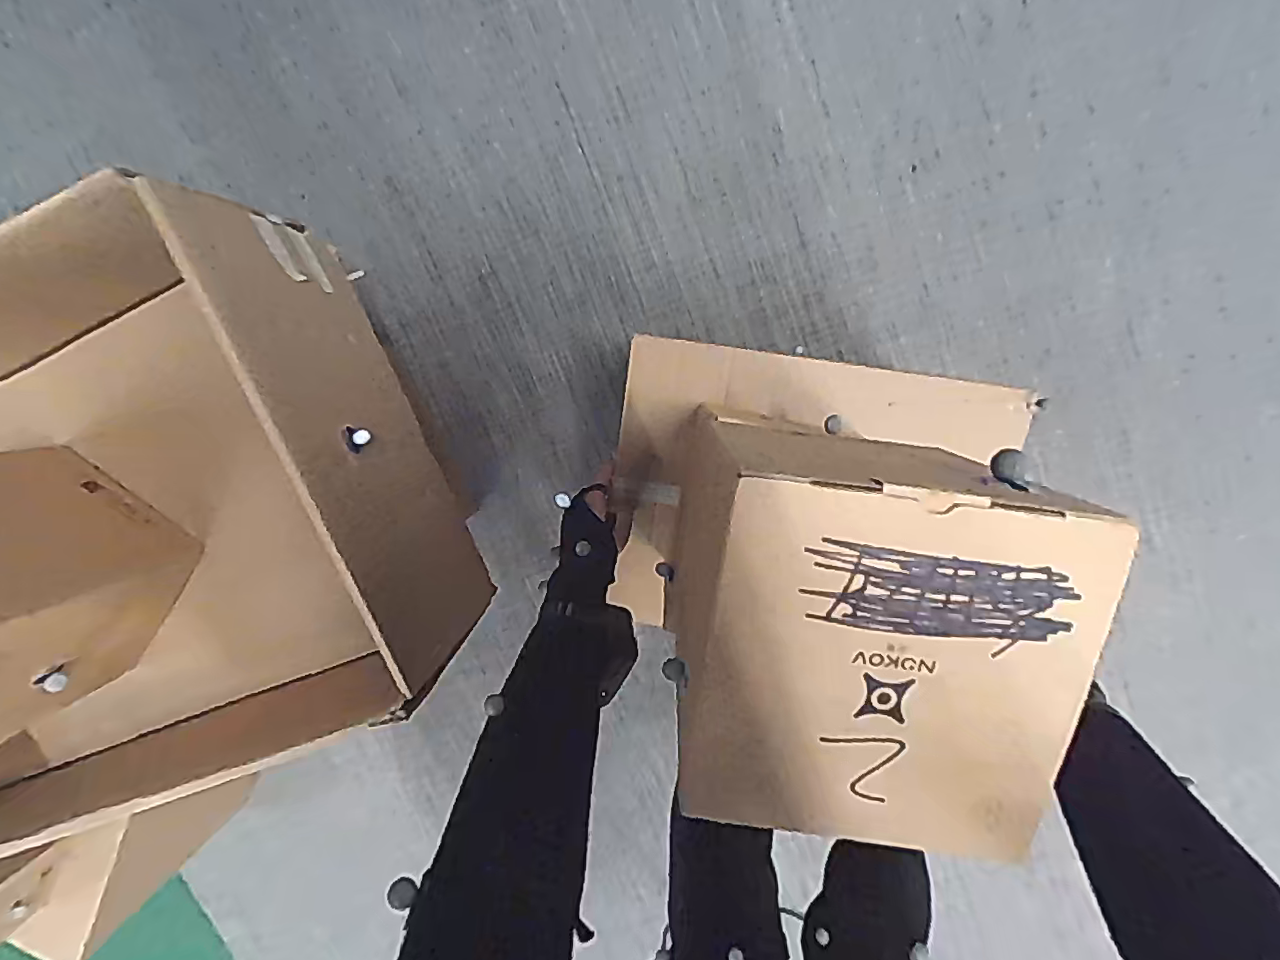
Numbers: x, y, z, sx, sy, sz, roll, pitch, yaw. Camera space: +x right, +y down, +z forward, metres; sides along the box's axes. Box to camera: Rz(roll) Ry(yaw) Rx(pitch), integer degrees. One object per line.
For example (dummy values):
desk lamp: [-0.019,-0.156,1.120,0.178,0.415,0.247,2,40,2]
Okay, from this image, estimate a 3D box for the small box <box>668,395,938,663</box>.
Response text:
small box: [0.120,0.027,0.480,0.168,0.176,0.179,12,103,0]

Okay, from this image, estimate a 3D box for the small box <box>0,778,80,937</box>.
small box: [-0.887,0.509,0.678,0.179,0.176,0.168,31,103,-2]

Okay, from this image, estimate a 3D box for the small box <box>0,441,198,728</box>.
small box: [-0.534,0.090,0.454,0.168,0.176,0.179,38,103,-4]
